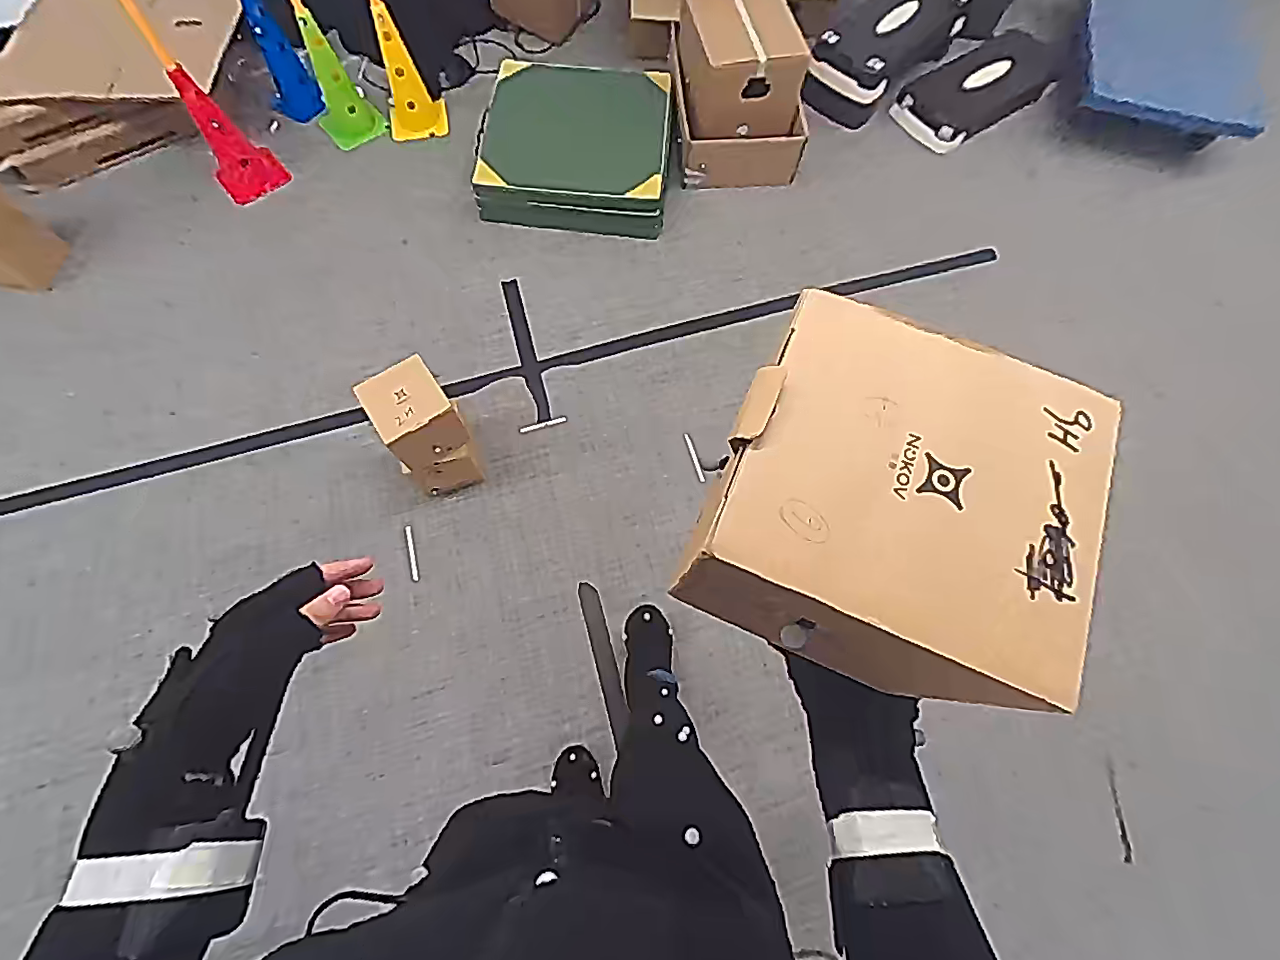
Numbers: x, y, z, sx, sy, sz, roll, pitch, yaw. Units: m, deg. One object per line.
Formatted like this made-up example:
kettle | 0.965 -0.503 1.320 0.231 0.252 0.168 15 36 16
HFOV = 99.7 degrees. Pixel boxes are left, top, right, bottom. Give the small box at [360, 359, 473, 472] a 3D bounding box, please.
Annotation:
small box | -0.524 -0.148 1.289 0.168 0.176 0.179 -30 74 -10

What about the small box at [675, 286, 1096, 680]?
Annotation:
small box | 0.131 0.017 0.345 0.179 0.176 0.168 21 71 4

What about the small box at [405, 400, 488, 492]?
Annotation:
small box | -0.519 -0.080 1.439 0.168 0.176 0.179 -17 69 -7
